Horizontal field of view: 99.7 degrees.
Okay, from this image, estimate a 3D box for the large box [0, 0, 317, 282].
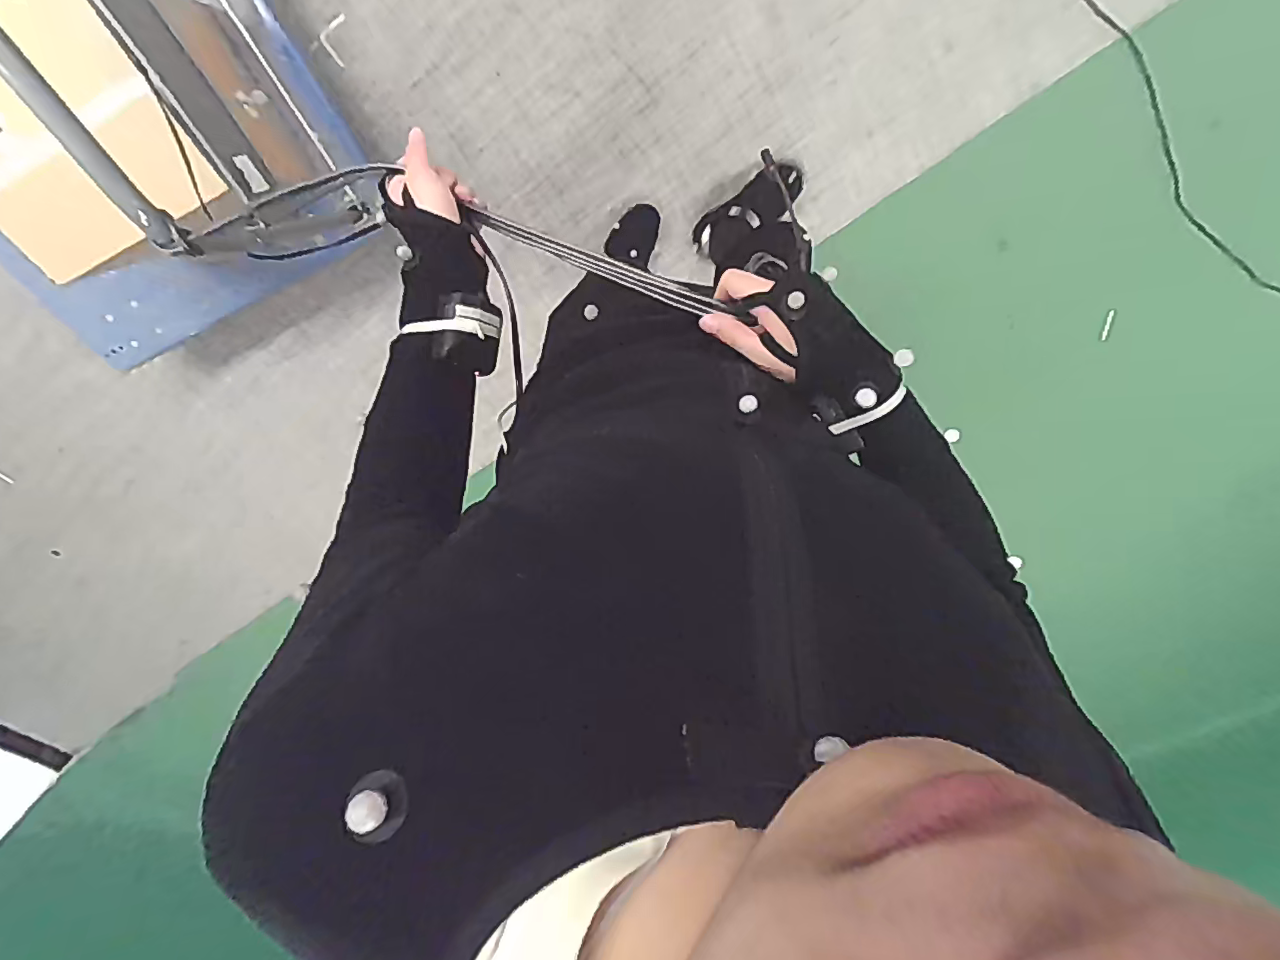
[{"bbox_3d":[-0.905,-0.619,0.971,0.408,0.320,0.320,-20,121,12],"label":"large box"}]
